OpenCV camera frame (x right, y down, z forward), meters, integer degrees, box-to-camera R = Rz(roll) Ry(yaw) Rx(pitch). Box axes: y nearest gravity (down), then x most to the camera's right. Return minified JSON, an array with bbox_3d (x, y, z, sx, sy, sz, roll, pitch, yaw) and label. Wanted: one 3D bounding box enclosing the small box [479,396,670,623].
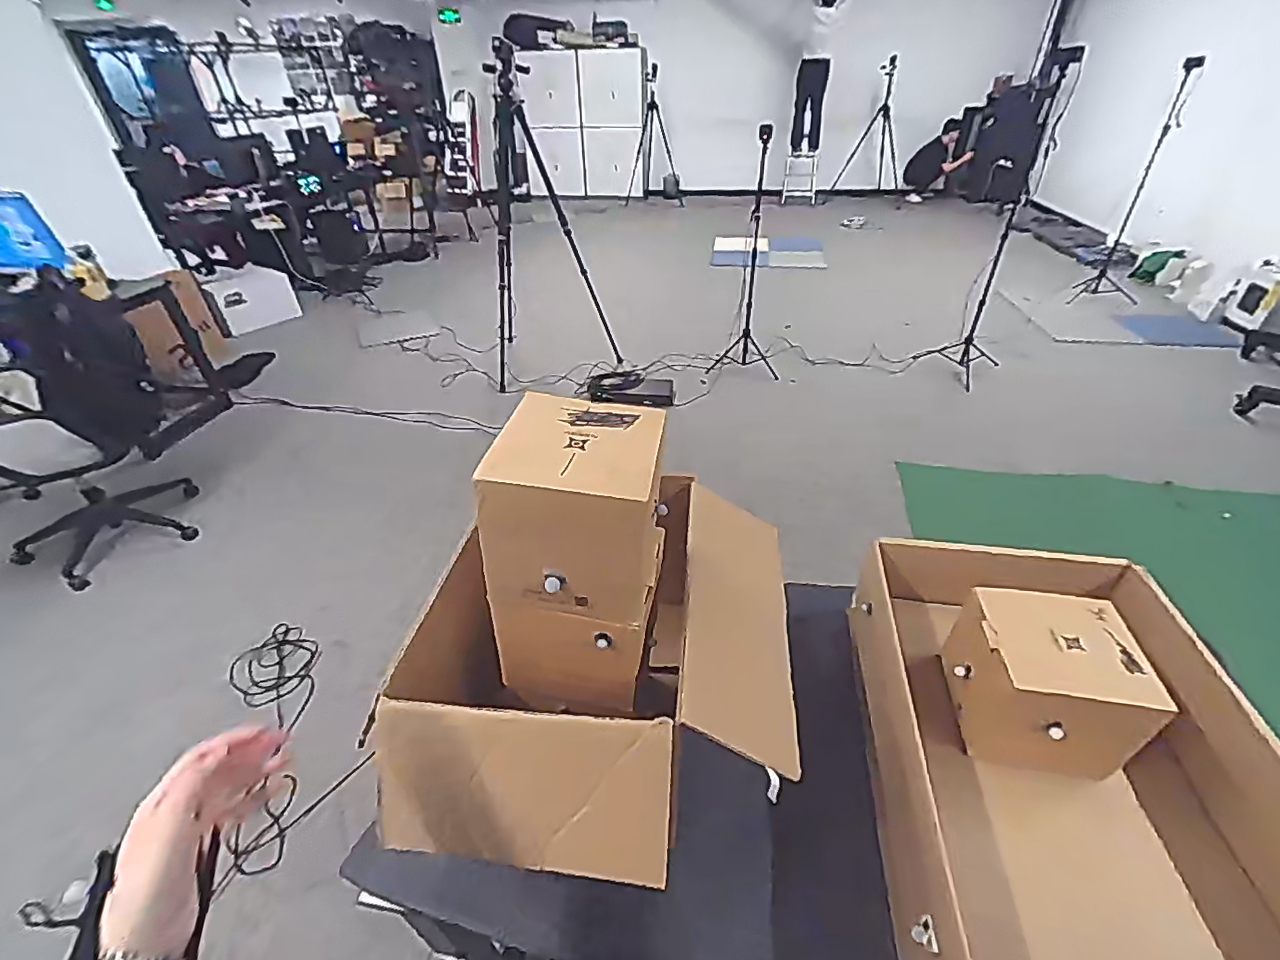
[{"bbox_3d":[-0.064,0.028,0.602,0.168,0.176,0.179,7,36,4],"label":"small box"}]
